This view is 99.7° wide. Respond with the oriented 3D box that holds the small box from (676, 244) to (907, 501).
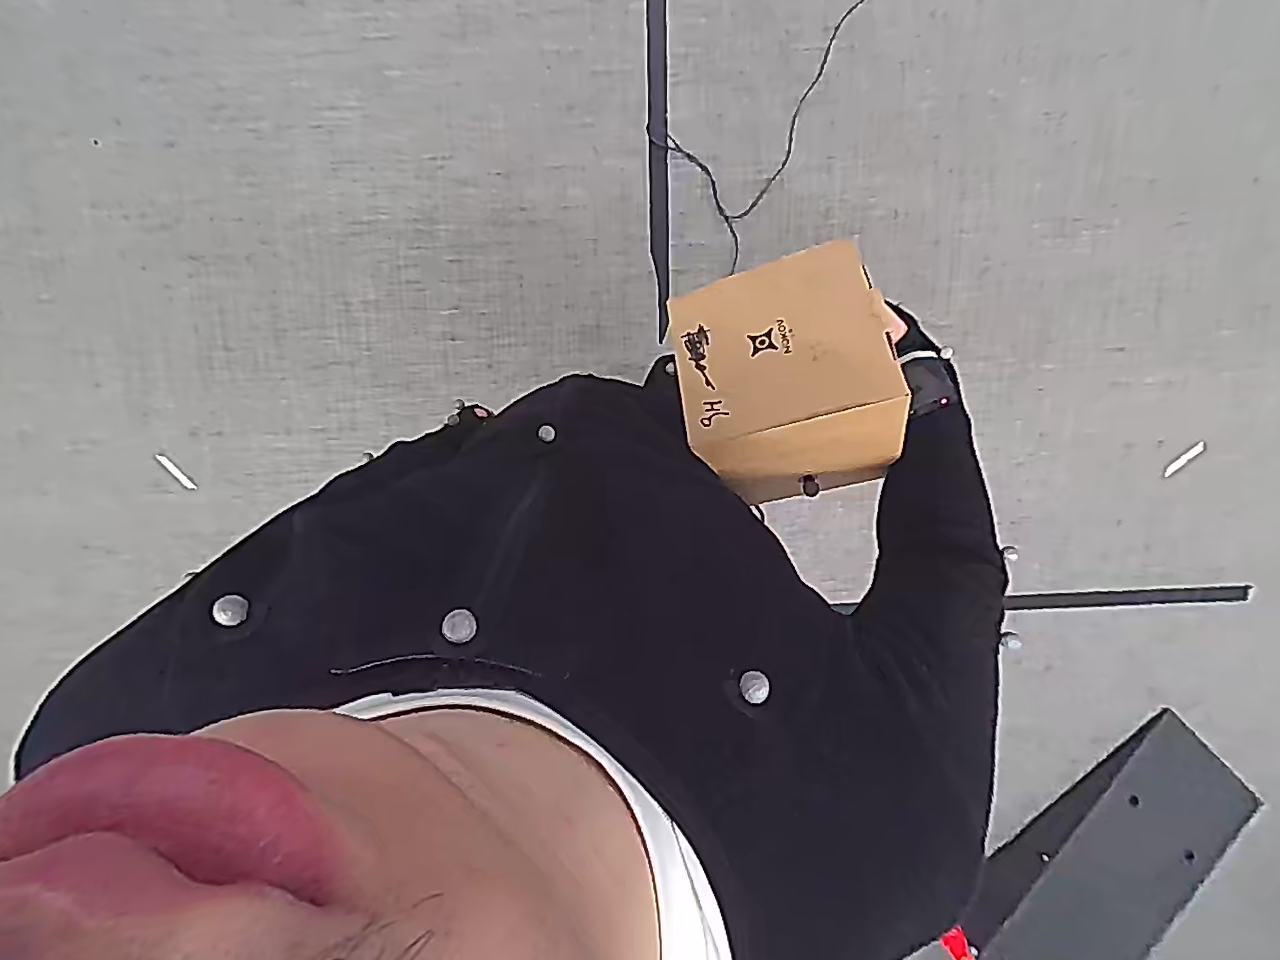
[{"bbox_3d":[0.148,-0.093,0.546,0.179,0.176,0.168,-12,63,16],"label":"small box"}]
